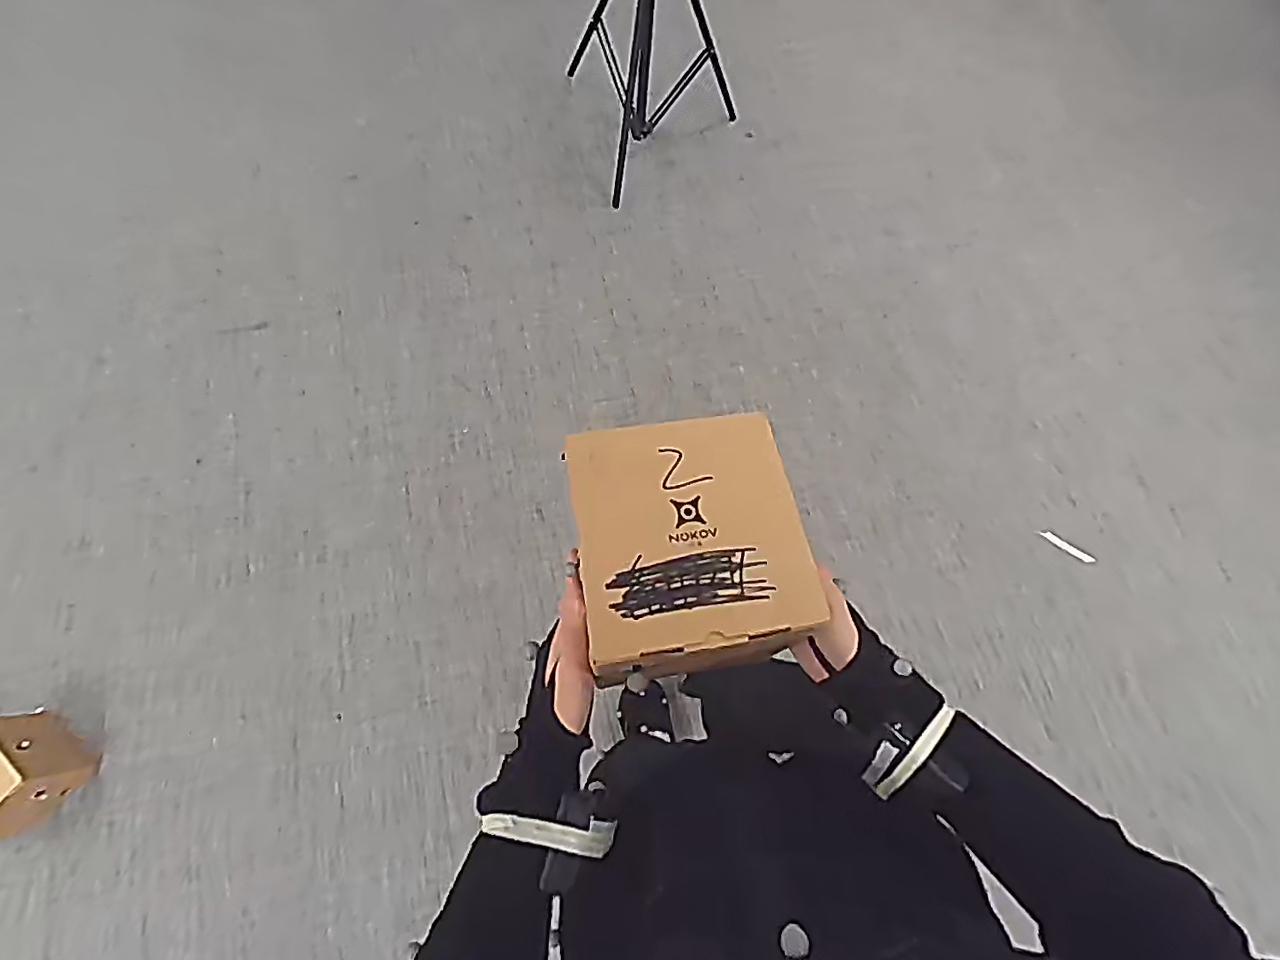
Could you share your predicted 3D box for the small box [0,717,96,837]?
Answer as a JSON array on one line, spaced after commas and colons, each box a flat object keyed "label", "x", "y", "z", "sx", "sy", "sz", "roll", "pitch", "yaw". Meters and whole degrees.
[{"label": "small box", "x": -1.291, "y": 0.605, "z": 1.100, "sx": 0.179, "sy": 0.176, "sz": 0.168, "roll": 39, "pitch": 72, "yaw": 10}]
